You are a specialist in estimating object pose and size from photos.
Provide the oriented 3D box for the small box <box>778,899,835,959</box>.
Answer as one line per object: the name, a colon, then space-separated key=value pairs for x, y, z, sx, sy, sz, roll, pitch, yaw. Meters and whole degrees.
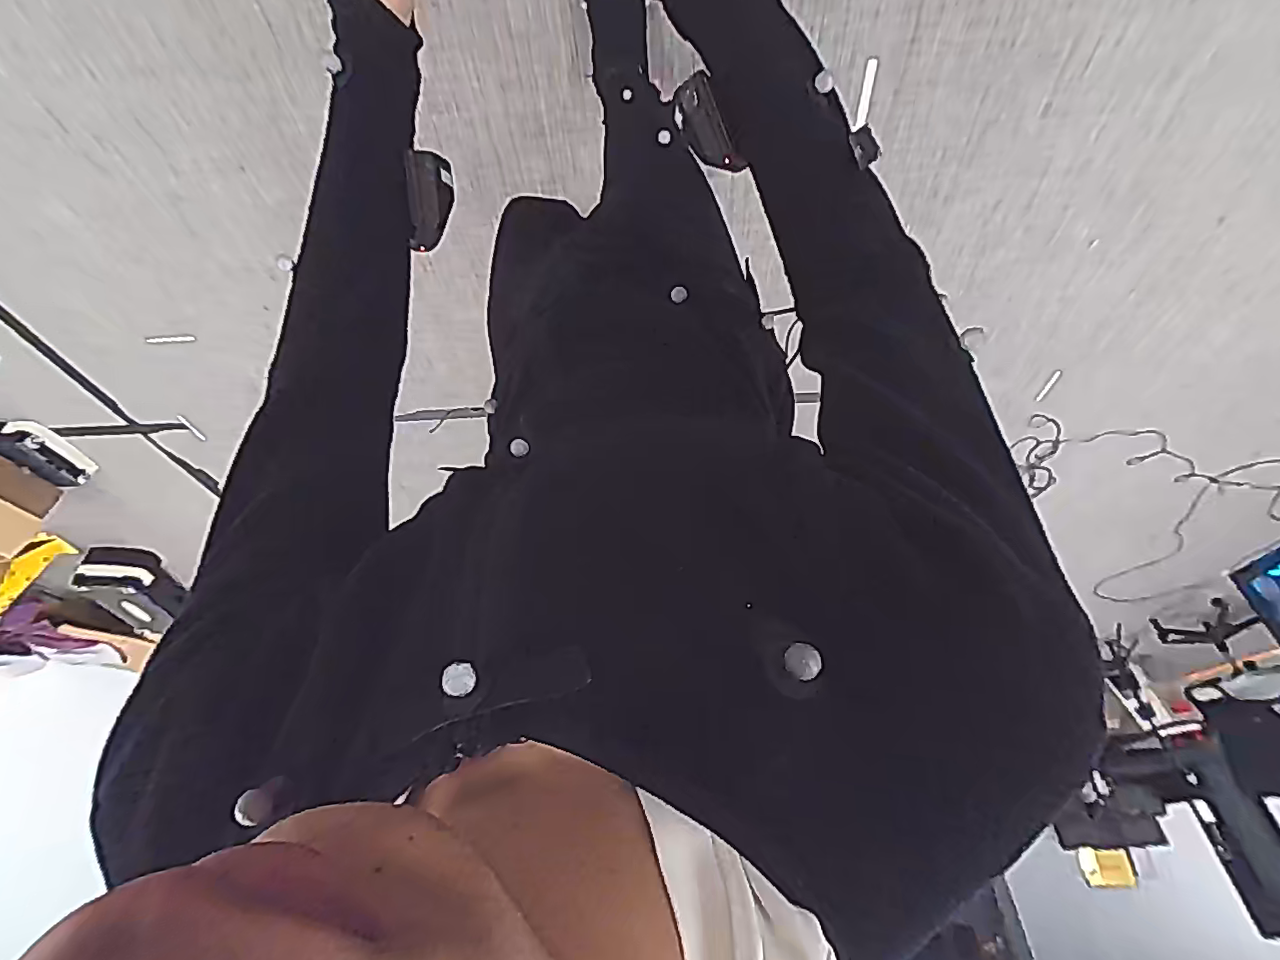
small box: x=0.627 y=1.704 z=2.054 sx=0.168 sy=0.176 sz=0.179 roll=-4 pitch=142 yaw=4
